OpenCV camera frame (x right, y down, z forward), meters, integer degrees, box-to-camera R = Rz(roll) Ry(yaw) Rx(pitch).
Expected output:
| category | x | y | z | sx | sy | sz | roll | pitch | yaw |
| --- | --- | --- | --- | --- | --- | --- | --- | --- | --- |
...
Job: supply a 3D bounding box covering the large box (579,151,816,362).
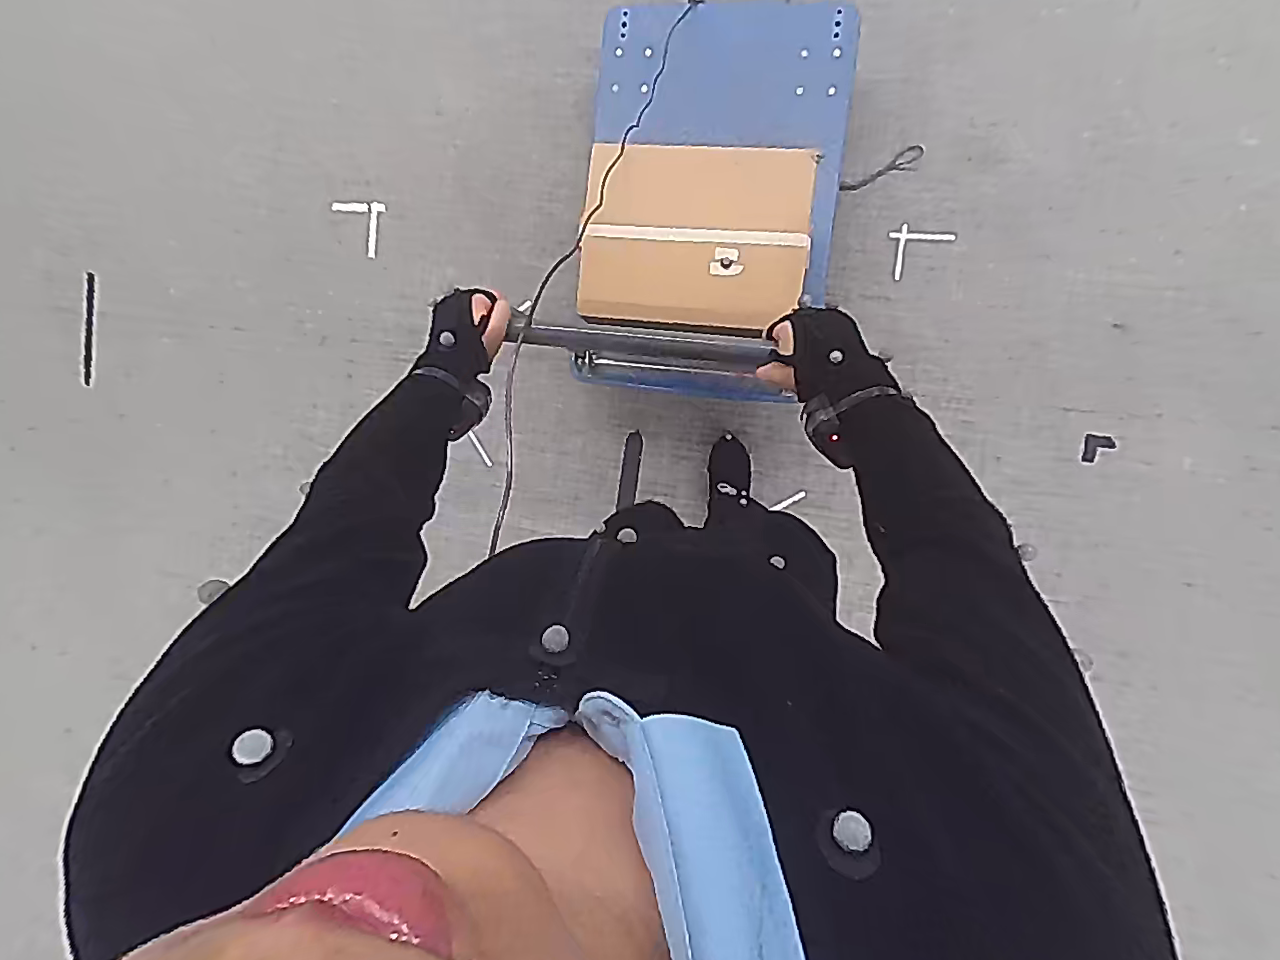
| category | x | y | z | sx | sy | sz | roll | pitch | yaw |
| --- | --- | --- | --- | --- | --- | --- | --- | --- | --- |
| large box | 0.114 | -0.434 | 1.116 | 0.408 | 0.320 | 0.320 | 7 | 95 | 8 |
